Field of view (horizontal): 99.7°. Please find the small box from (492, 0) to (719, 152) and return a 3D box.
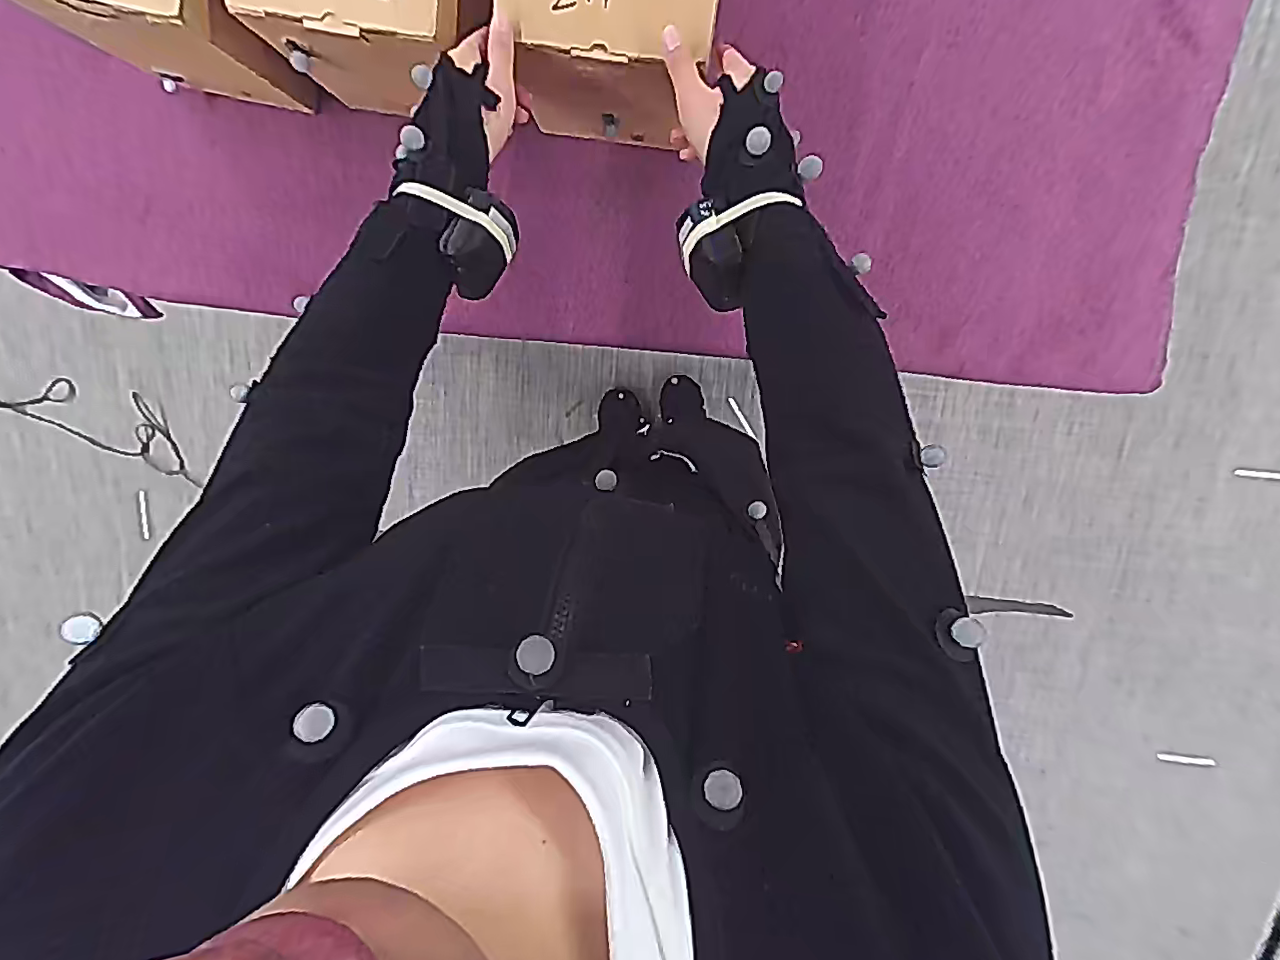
[{"bbox_3d":[-0.015,-0.419,0.466,0.168,0.176,0.179,9,102,2],"label":"small box"}]
